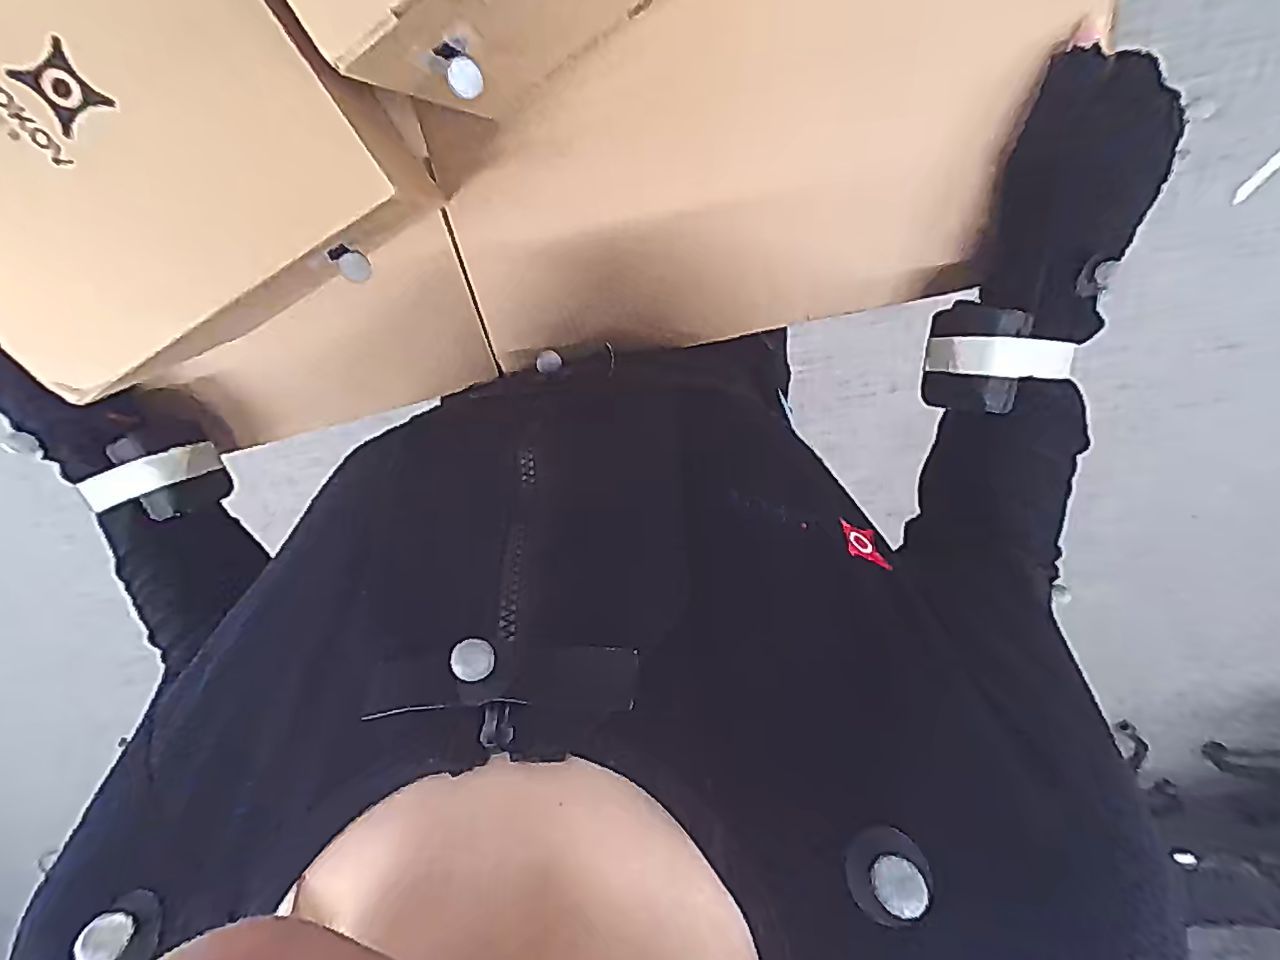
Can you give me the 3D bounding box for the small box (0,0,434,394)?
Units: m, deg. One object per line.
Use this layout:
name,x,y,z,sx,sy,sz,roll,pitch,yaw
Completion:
small box,-0.224,-0.174,0.266,0.179,0.176,0.168,-31,117,4
